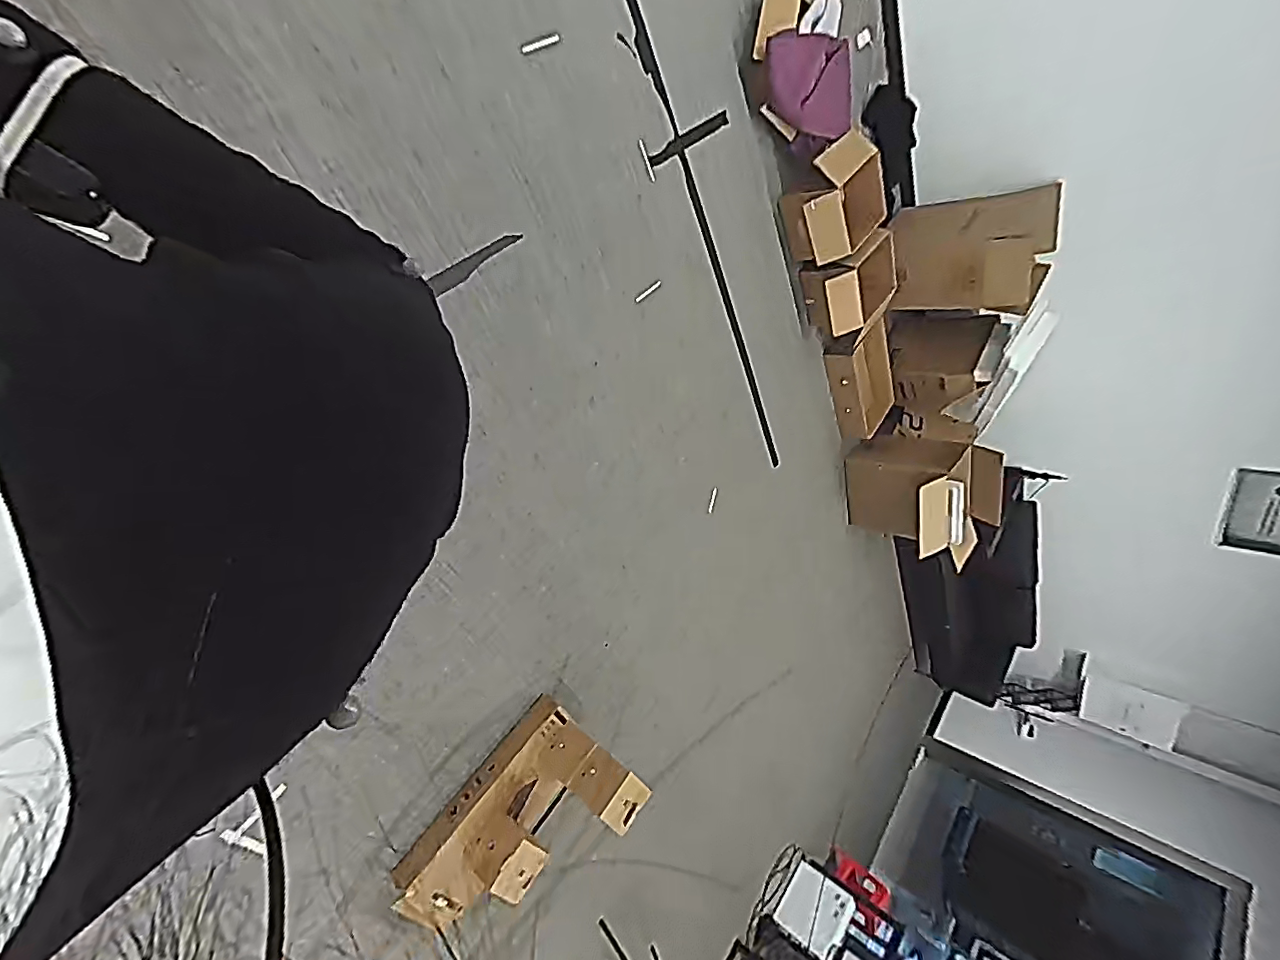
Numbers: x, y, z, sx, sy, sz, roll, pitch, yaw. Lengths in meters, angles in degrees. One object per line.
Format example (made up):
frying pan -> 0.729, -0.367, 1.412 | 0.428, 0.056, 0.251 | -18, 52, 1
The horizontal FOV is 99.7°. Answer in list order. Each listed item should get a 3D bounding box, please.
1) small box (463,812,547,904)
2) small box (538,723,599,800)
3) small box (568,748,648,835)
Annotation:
small box -> -0.447, 1.236, 1.781 | 0.168, 0.176, 0.179 | -49, 129, -27
small box -> -0.232, 1.009, 1.937 | 0.168, 0.176, 0.179 | -47, 129, -27
small box -> -0.110, 1.049, 1.833 | 0.168, 0.176, 0.179 | -48, 130, -26
